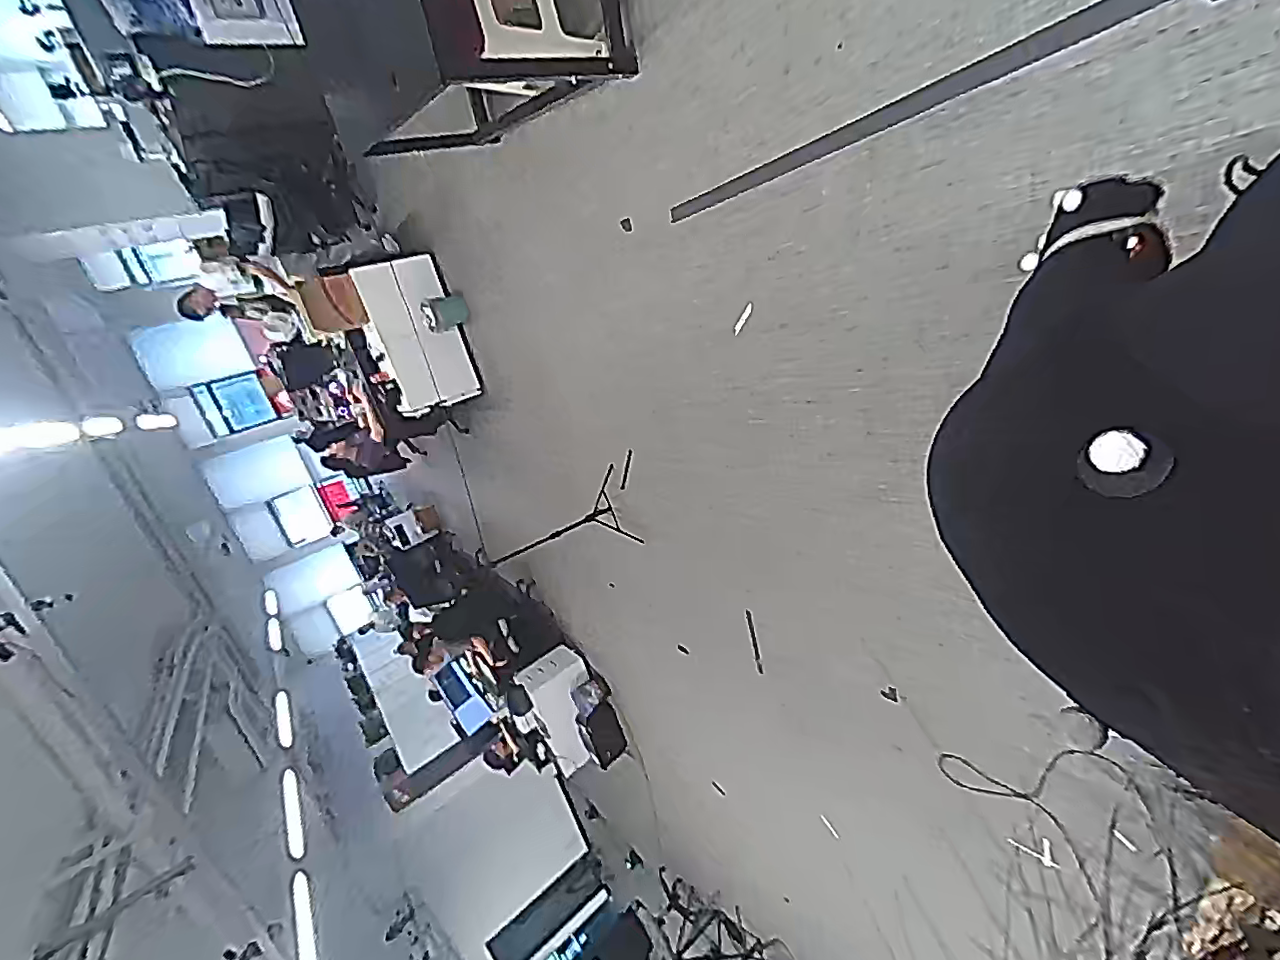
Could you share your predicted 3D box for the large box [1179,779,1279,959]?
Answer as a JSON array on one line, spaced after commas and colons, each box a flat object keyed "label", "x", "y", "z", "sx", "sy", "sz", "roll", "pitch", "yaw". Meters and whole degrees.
[{"label": "large box", "x": 1.518, "y": 0.970, "z": 1.180, "sx": 0.408, "sy": 0.320, "sz": 0.320, "roll": 19, "pitch": 128, "yaw": 48}]
